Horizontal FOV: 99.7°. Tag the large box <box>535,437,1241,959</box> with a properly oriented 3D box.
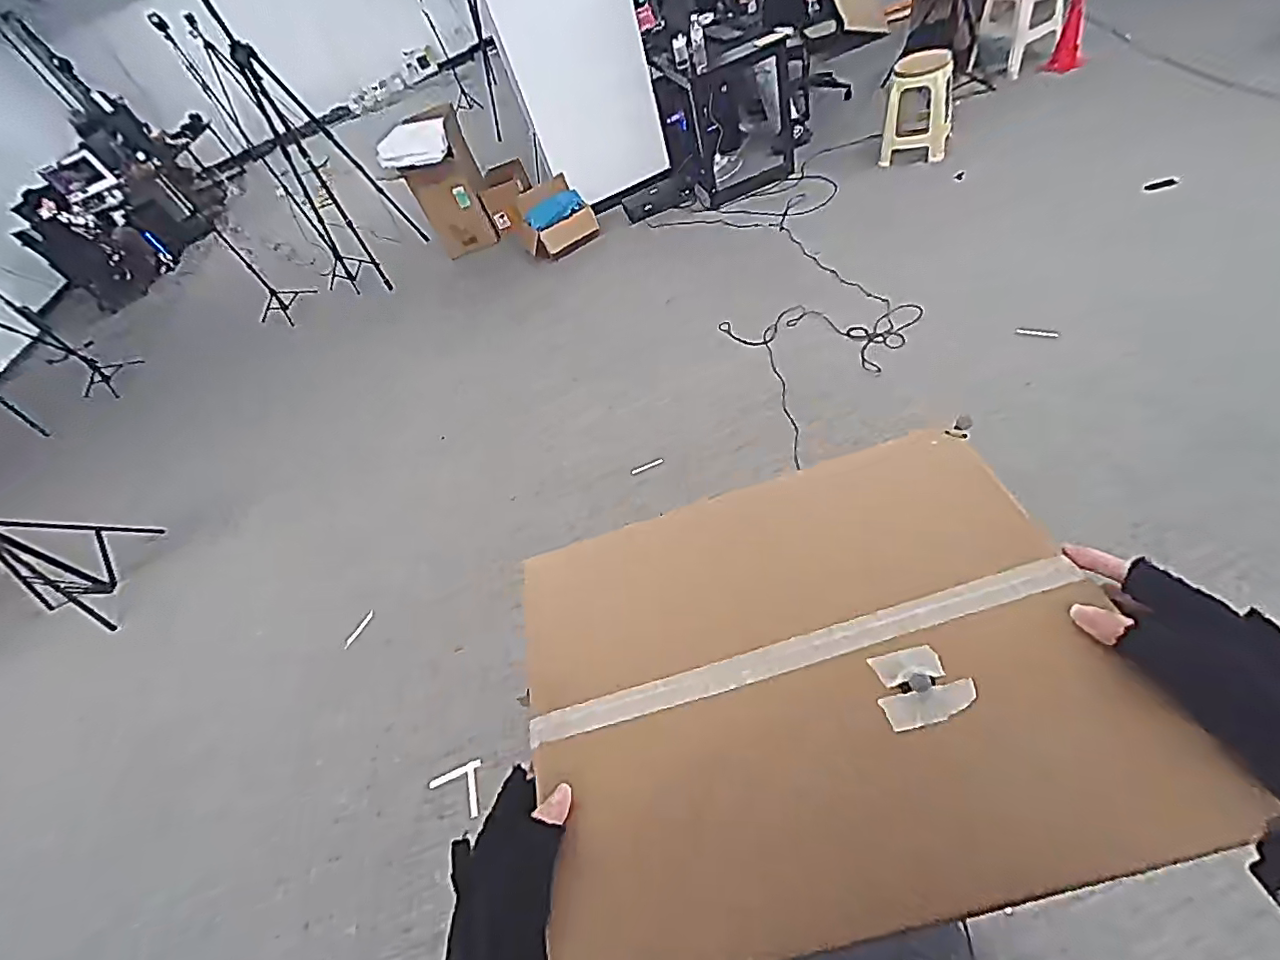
[{"bbox_3d":[0.153,0.225,0.516,0.408,0.320,0.320,-18,49,4],"label":"large box"}]
